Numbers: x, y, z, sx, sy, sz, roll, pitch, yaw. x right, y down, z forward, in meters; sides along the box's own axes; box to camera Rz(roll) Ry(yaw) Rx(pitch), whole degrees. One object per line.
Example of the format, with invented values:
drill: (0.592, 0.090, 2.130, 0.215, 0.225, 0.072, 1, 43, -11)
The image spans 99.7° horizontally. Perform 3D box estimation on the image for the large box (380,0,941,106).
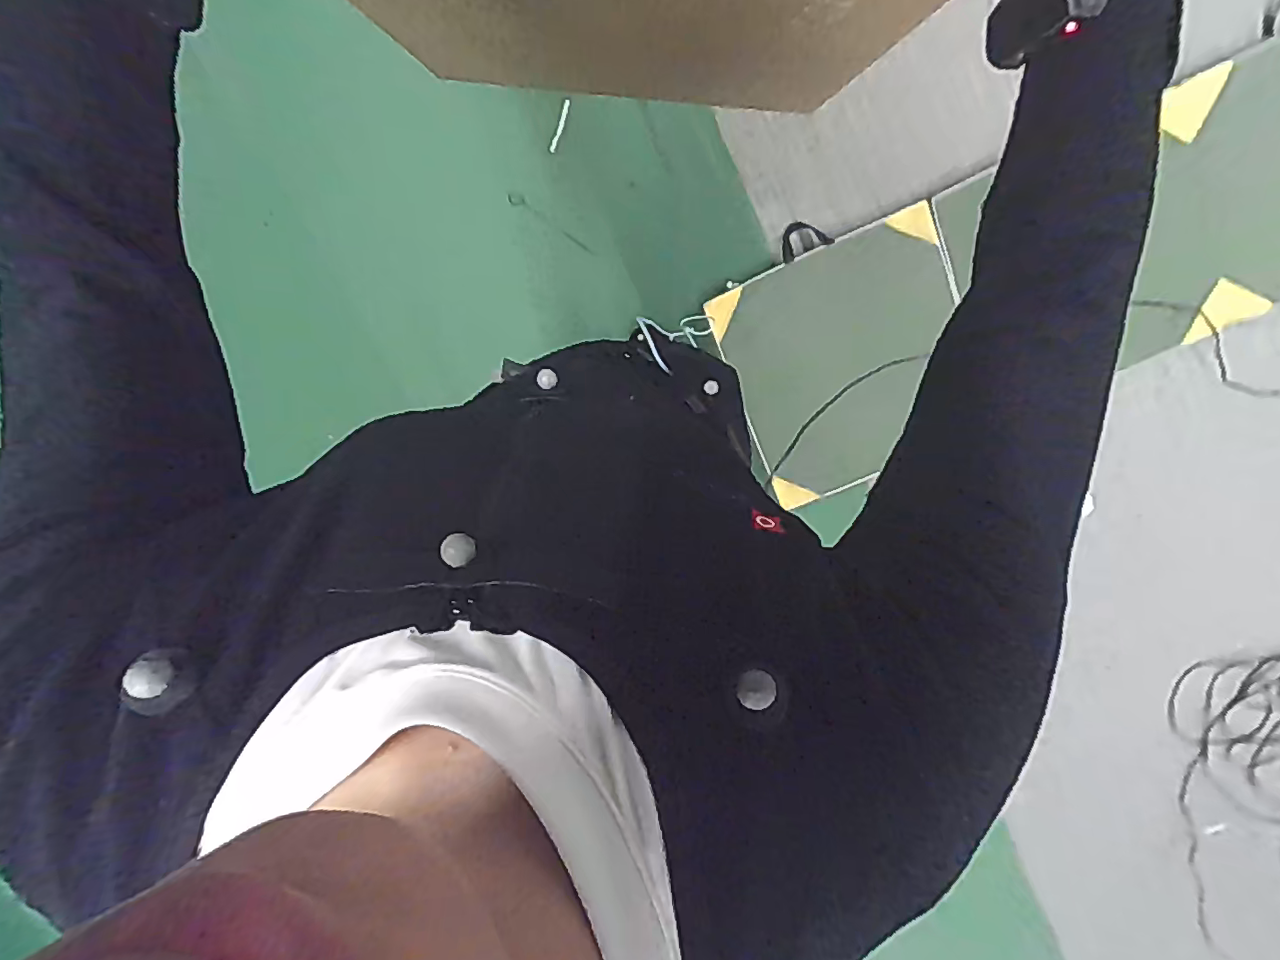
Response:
large box: (0.008, -0.495, 0.378, 0.408, 0.320, 0.320, 4, 113, -3)
